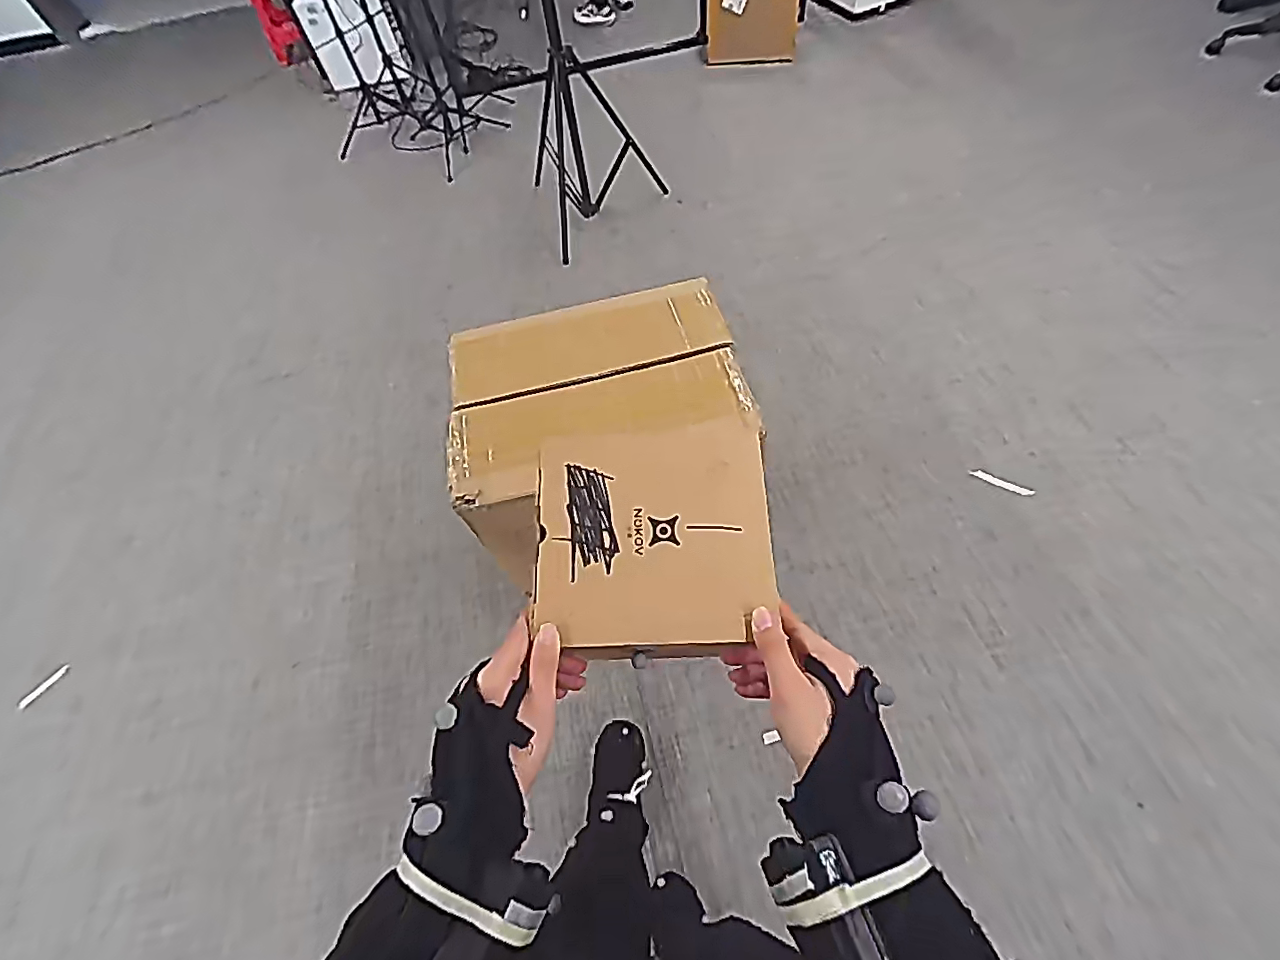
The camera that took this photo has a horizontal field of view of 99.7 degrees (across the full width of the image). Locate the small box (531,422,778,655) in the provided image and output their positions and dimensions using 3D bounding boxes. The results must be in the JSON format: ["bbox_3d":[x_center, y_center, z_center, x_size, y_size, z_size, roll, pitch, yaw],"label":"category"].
[{"bbox_3d":[0.011,0.062,0.479,0.179,0.176,0.168,-2,68,0],"label":"small box"}]
